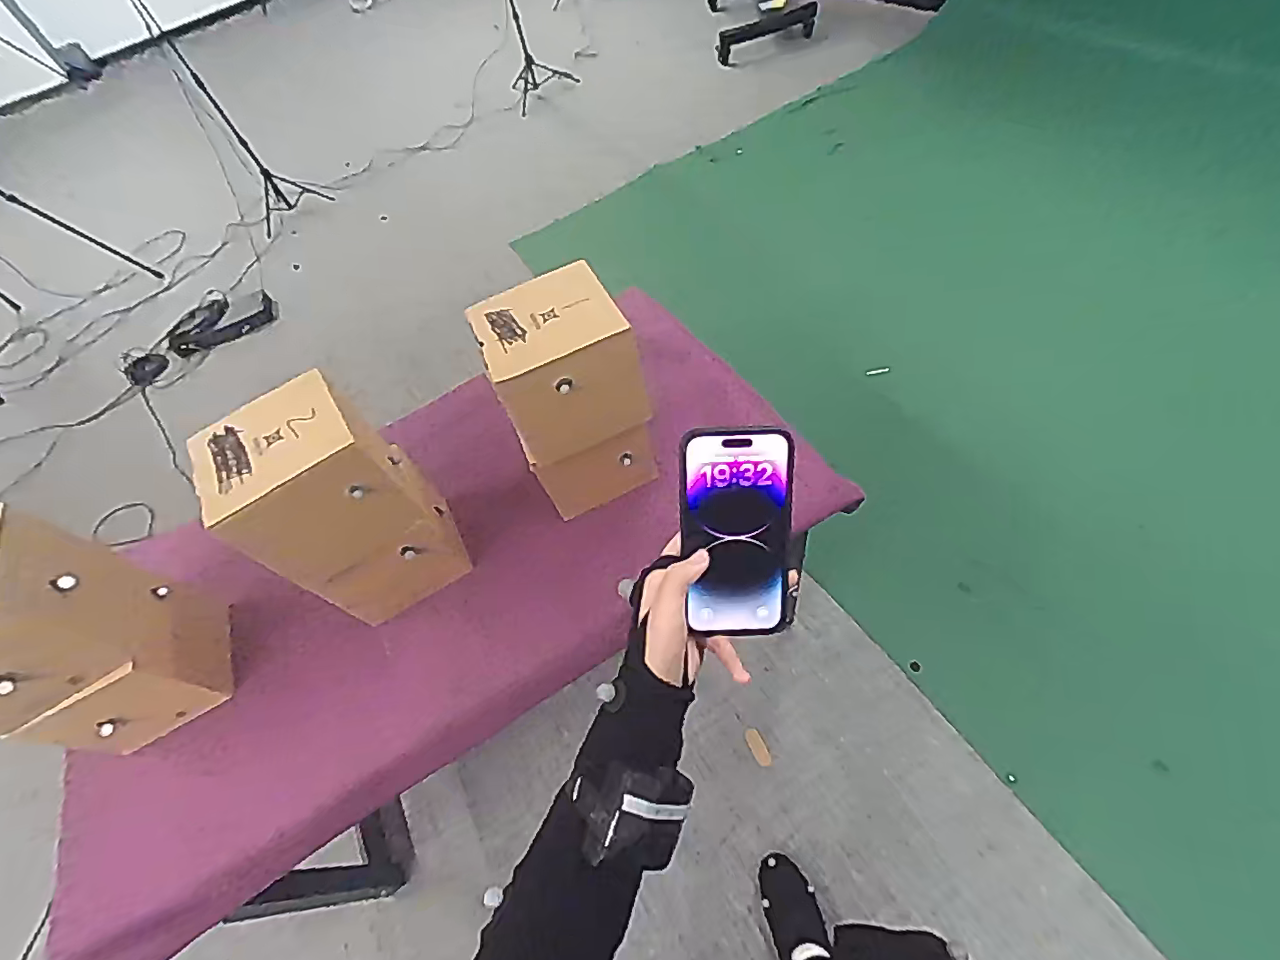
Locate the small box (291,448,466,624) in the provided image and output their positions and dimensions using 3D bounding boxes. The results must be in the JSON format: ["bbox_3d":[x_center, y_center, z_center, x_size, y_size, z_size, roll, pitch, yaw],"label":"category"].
[{"bbox_3d":[-0.389,0.089,0.831,0.179,0.176,0.168,-30,55,-8],"label":"small box"}]

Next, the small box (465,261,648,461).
[{"bbox_3d":[-0.107,-0.155,0.733,0.179,0.176,0.168,-25,54,-5],"label":"small box"}]

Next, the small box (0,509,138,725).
[{"bbox_3d":[-0.767,0.175,0.660,0.168,0.176,0.179,-34,56,-11],"label":"small box"}]

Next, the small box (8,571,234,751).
[{"bbox_3d":[-0.733,0.271,0.788,0.168,0.176,0.179,-30,55,-8],"label":"small box"}]

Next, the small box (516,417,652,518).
[{"bbox_3d":[-0.091,-0.070,0.874,0.179,0.176,0.168,-25,54,-4],"label":"small box"}]
